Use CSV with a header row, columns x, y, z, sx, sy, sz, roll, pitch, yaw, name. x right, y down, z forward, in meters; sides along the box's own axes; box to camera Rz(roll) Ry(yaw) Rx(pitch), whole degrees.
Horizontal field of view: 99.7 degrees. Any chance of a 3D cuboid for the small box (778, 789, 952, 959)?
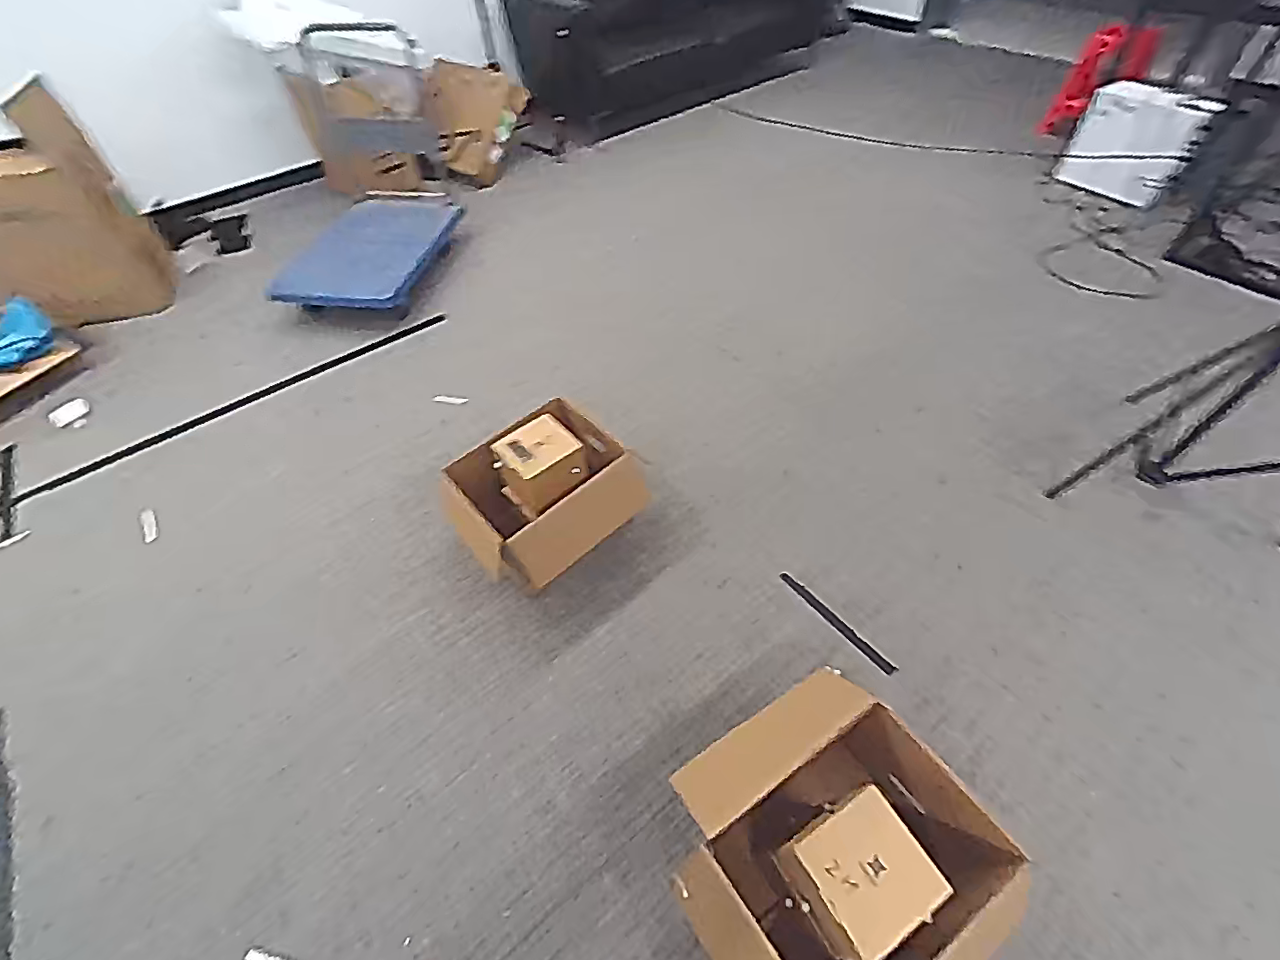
x,y,z,sx,sy,sz,roll,pitch,yaw,name
0.353,0.643,0.887,0.179,0.176,0.168,-25,57,-18,small box
